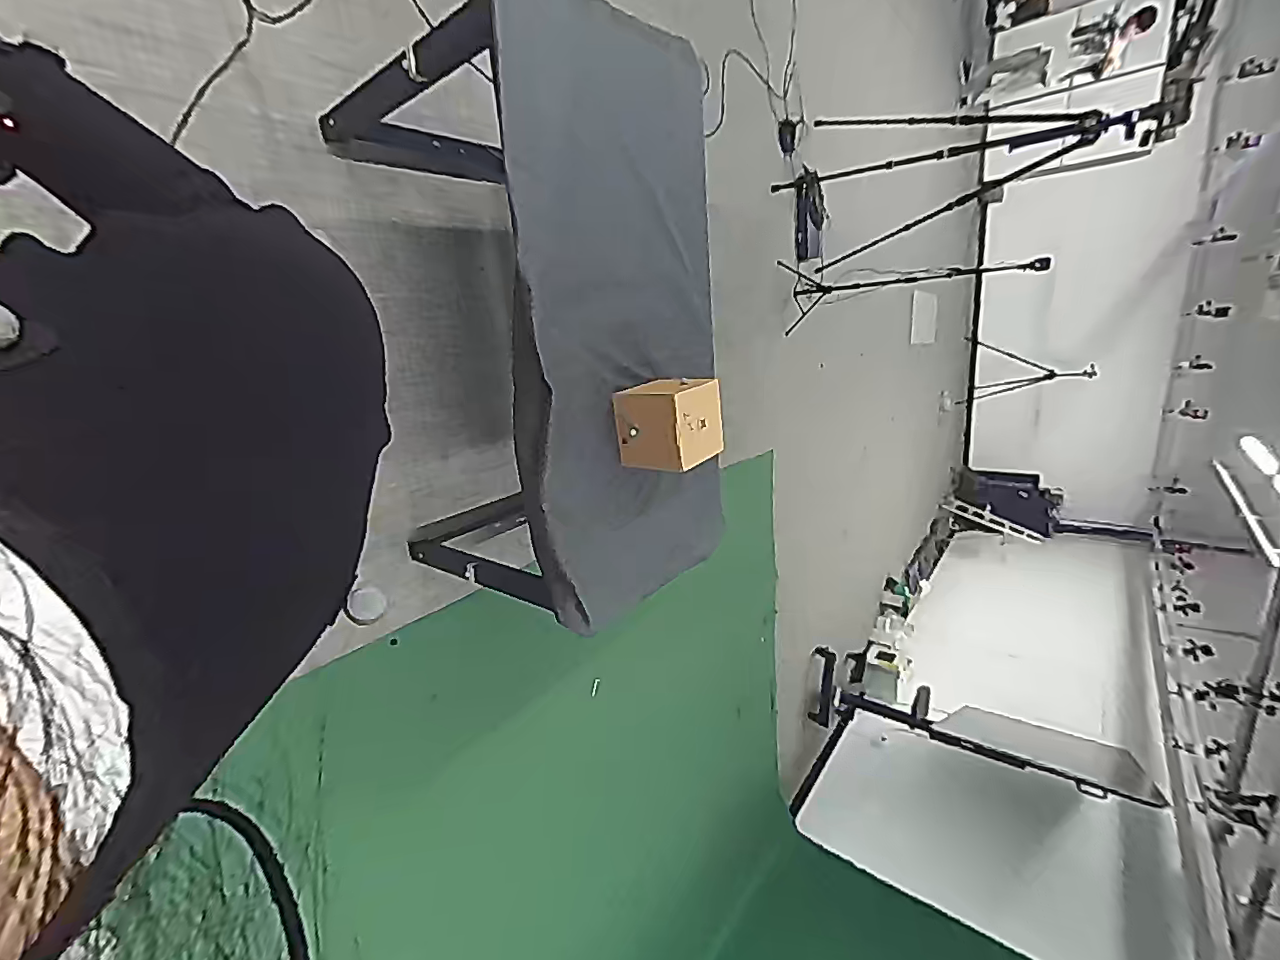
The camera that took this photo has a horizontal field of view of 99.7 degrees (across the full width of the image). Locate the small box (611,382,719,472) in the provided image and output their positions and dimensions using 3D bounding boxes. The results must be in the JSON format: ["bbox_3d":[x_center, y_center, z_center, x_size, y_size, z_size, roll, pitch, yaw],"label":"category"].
[{"bbox_3d":[0.058,-0.126,1.208,0.179,0.176,0.168,-26,115,-46],"label":"small box"}]
